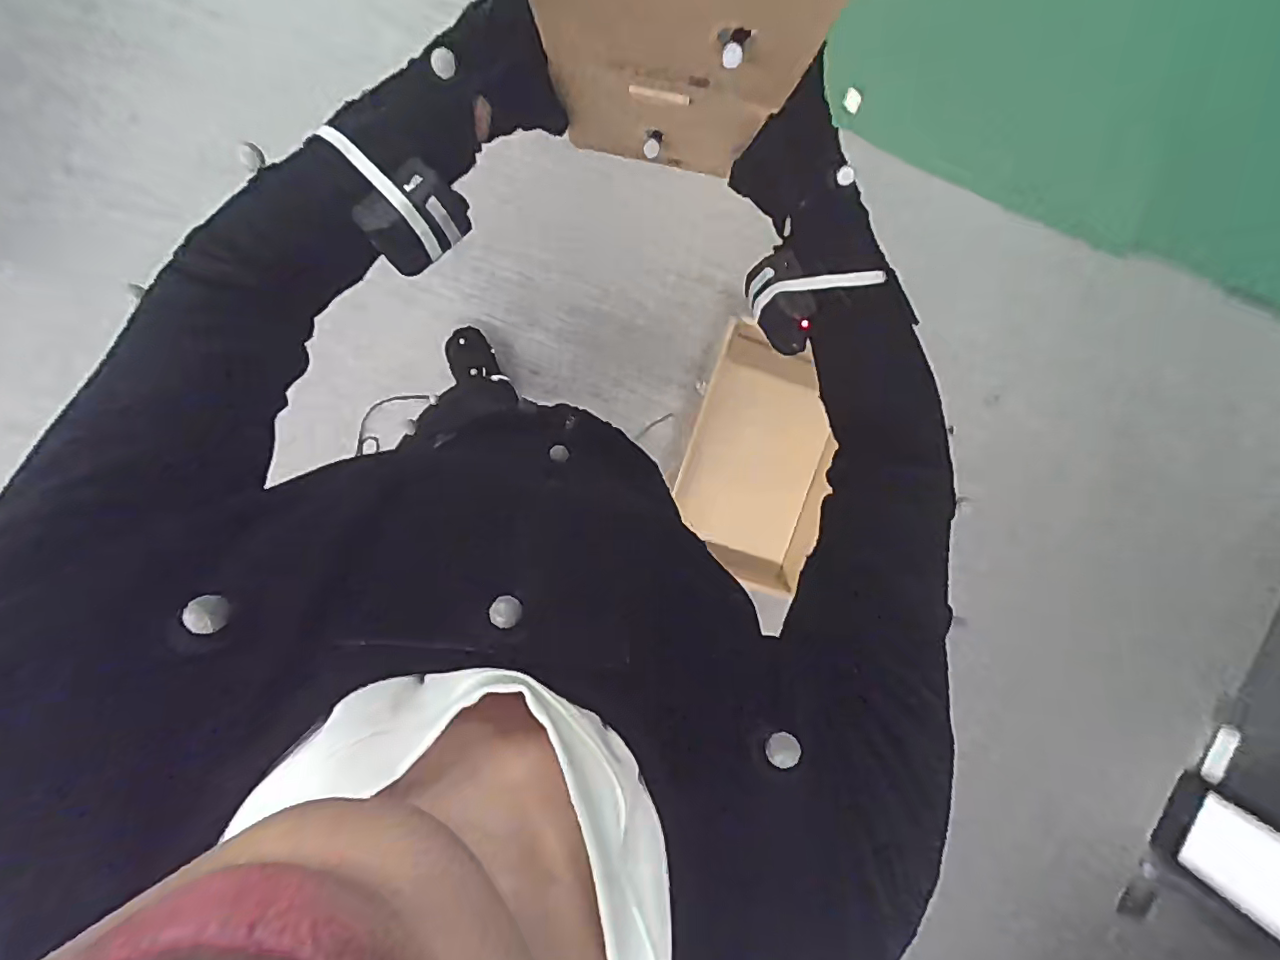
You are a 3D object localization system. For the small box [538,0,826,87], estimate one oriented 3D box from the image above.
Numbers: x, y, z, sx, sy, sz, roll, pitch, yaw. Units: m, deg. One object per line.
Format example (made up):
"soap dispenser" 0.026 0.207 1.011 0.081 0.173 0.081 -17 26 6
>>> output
"small box" 0.030 -0.333 0.264 0.168 0.176 0.179 9 105 -3
